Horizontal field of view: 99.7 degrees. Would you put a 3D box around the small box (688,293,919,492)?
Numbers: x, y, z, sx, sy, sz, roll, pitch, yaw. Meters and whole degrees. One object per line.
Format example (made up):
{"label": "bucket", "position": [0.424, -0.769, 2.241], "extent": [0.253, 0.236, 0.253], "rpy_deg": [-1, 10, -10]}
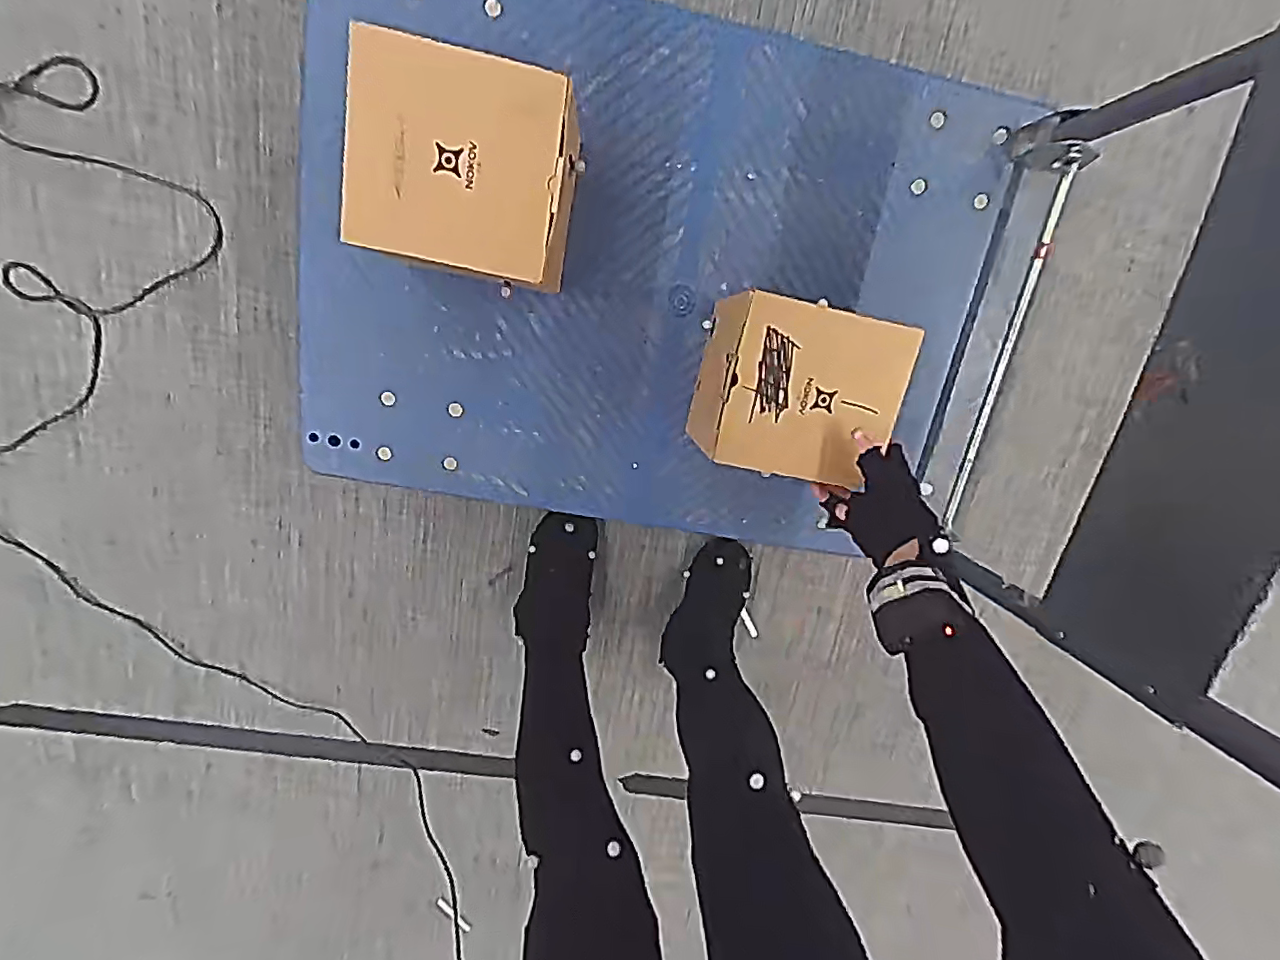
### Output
{"label": "small box", "position": [0.162, -0.100, 0.605], "extent": [0.179, 0.176, 0.168], "rpy_deg": [11, 104, -7]}

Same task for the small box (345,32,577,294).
{"label": "small box", "position": [-0.161, -0.285, 0.533], "extent": [0.179, 0.176, 0.168], "rpy_deg": [9, 104, -6]}
